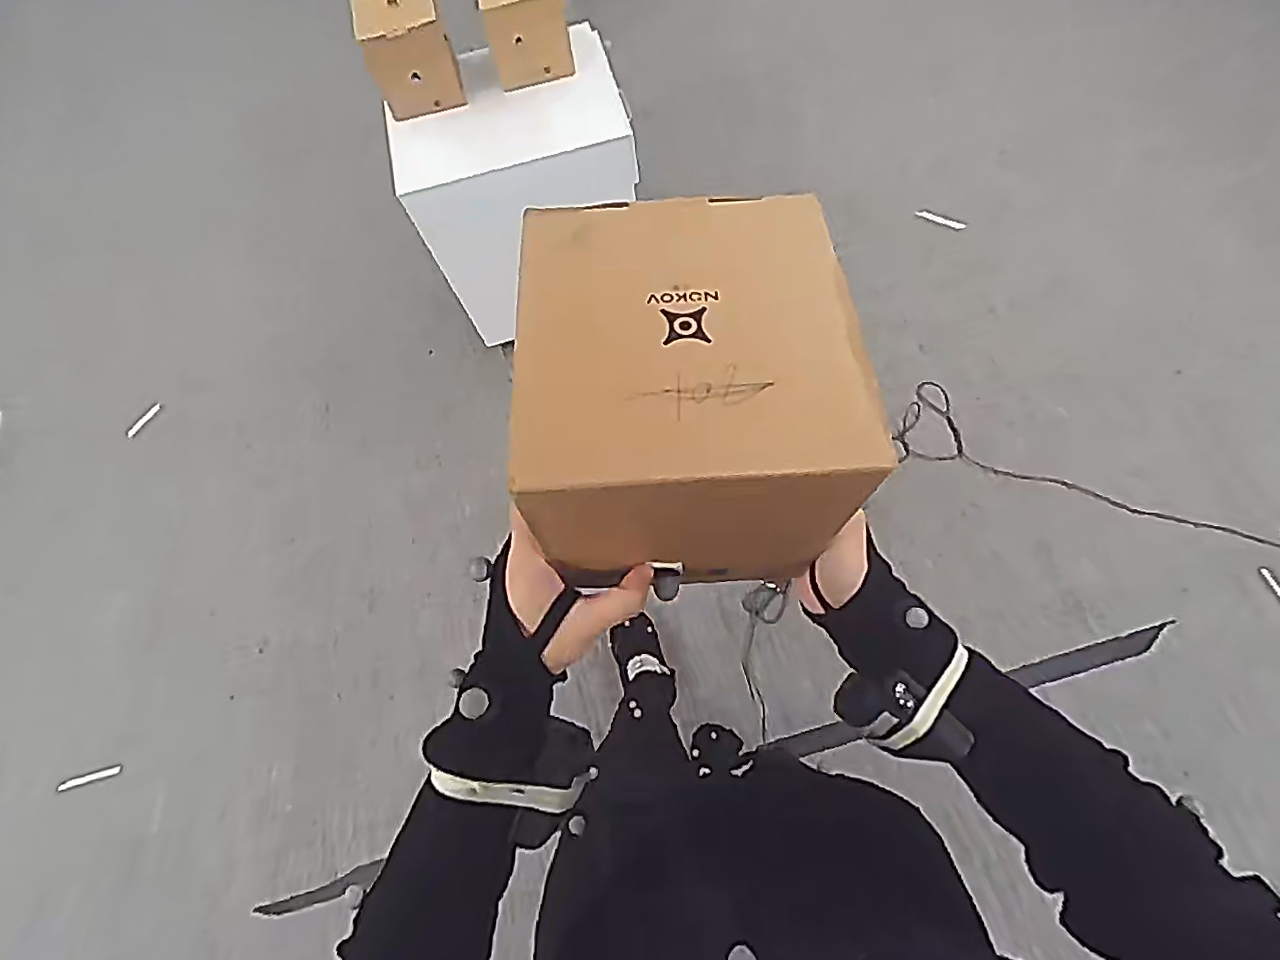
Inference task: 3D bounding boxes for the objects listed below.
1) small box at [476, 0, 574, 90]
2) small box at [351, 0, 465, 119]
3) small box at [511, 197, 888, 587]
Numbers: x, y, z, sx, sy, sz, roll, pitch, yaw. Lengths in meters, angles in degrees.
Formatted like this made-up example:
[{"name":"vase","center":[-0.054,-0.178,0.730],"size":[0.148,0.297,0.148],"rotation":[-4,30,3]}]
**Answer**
[{"name":"small box","center":[-0.251,-0.988,1.174],"size":[0.168,0.176,0.179],"rotation":[-15,70,-1]},{"name":"small box","center":[-0.492,-0.918,1.167],"size":[0.168,0.176,0.179],"rotation":[-15,71,-2]},{"name":"small box","center":[0.022,-0.043,0.340],"size":[0.168,0.176,0.179],"rotation":[-4,64,0]}]
